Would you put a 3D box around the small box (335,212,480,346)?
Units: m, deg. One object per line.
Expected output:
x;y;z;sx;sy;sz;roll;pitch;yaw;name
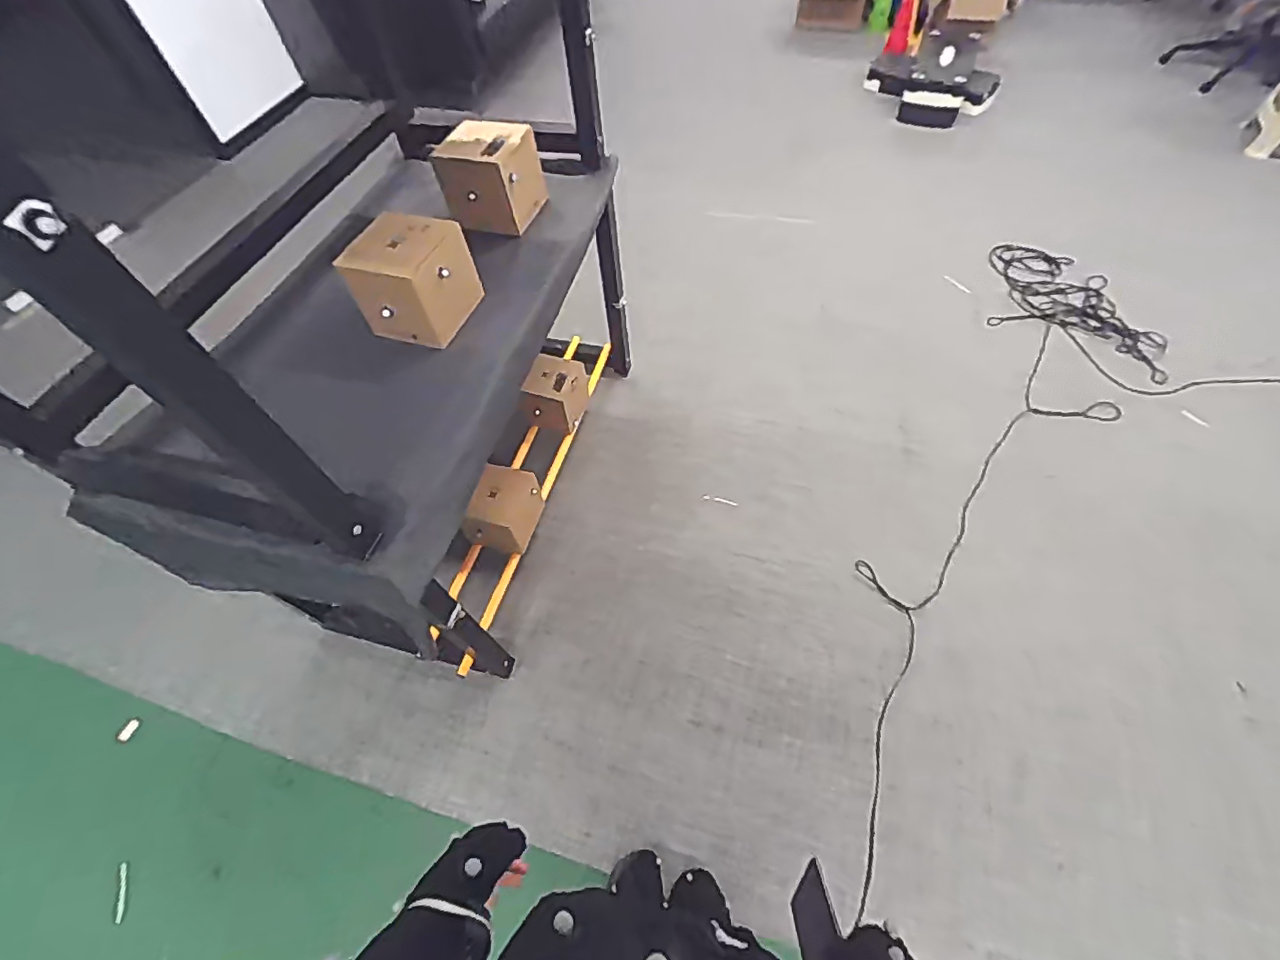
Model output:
-0.437;-0.388;1.054;0.168;0.176;0.179;14;59;13;small box

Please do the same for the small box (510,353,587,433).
-0.281;-0.271;1.713;0.179;0.176;0.168;15;59;13;small box
